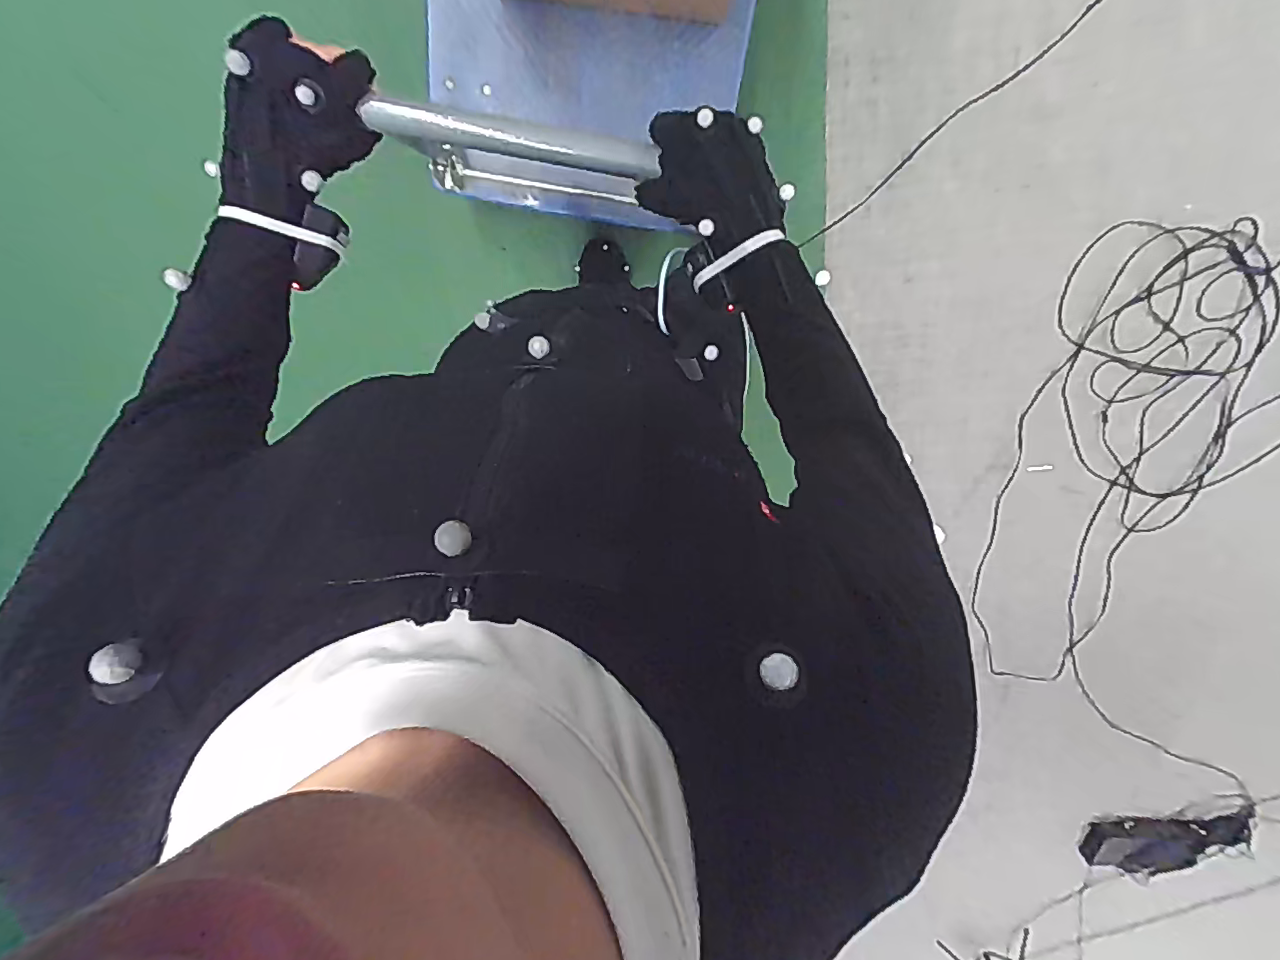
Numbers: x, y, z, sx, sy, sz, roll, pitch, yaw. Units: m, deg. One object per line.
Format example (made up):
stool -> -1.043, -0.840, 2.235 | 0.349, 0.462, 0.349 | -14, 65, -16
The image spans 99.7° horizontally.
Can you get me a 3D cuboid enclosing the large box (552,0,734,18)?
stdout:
large box -> -0.032, -0.905, 0.764 | 0.408, 0.320, 0.320 | 6, 117, -2
